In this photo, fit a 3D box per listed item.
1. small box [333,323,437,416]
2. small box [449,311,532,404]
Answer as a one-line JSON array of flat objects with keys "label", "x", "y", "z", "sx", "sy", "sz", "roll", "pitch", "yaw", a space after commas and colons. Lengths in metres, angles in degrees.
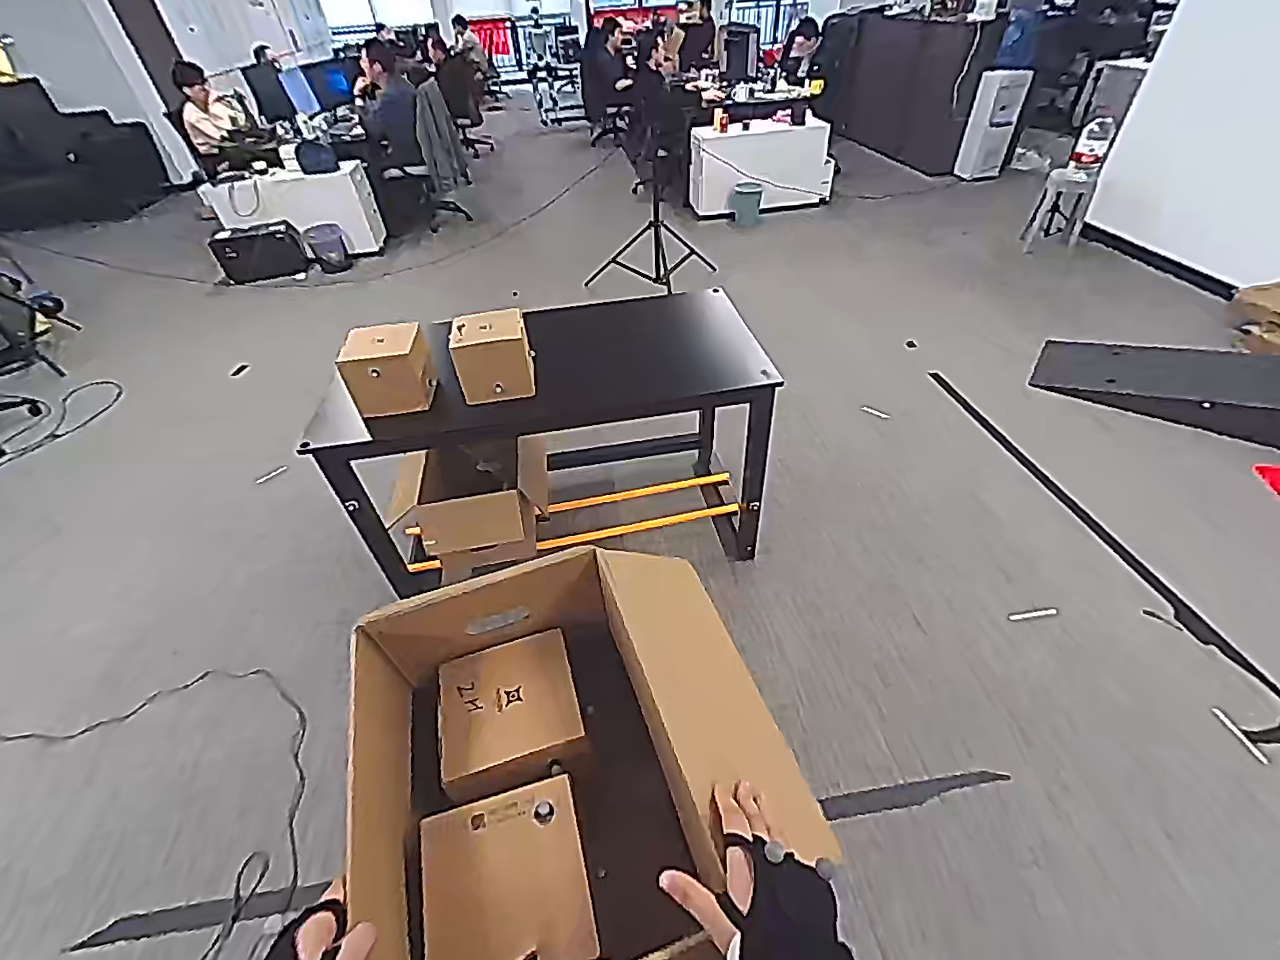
[{"label": "small box", "x": -0.638, "y": -0.277, "z": 1.375, "sx": 0.179, "sy": 0.176, "sz": 0.168, "roll": -7, "pitch": 44, "yaw": -5}, {"label": "small box", "x": -0.378, "y": -0.315, "z": 1.394, "sx": 0.179, "sy": 0.176, "sz": 0.168, "roll": -9, "pitch": 42, "yaw": -6}]
